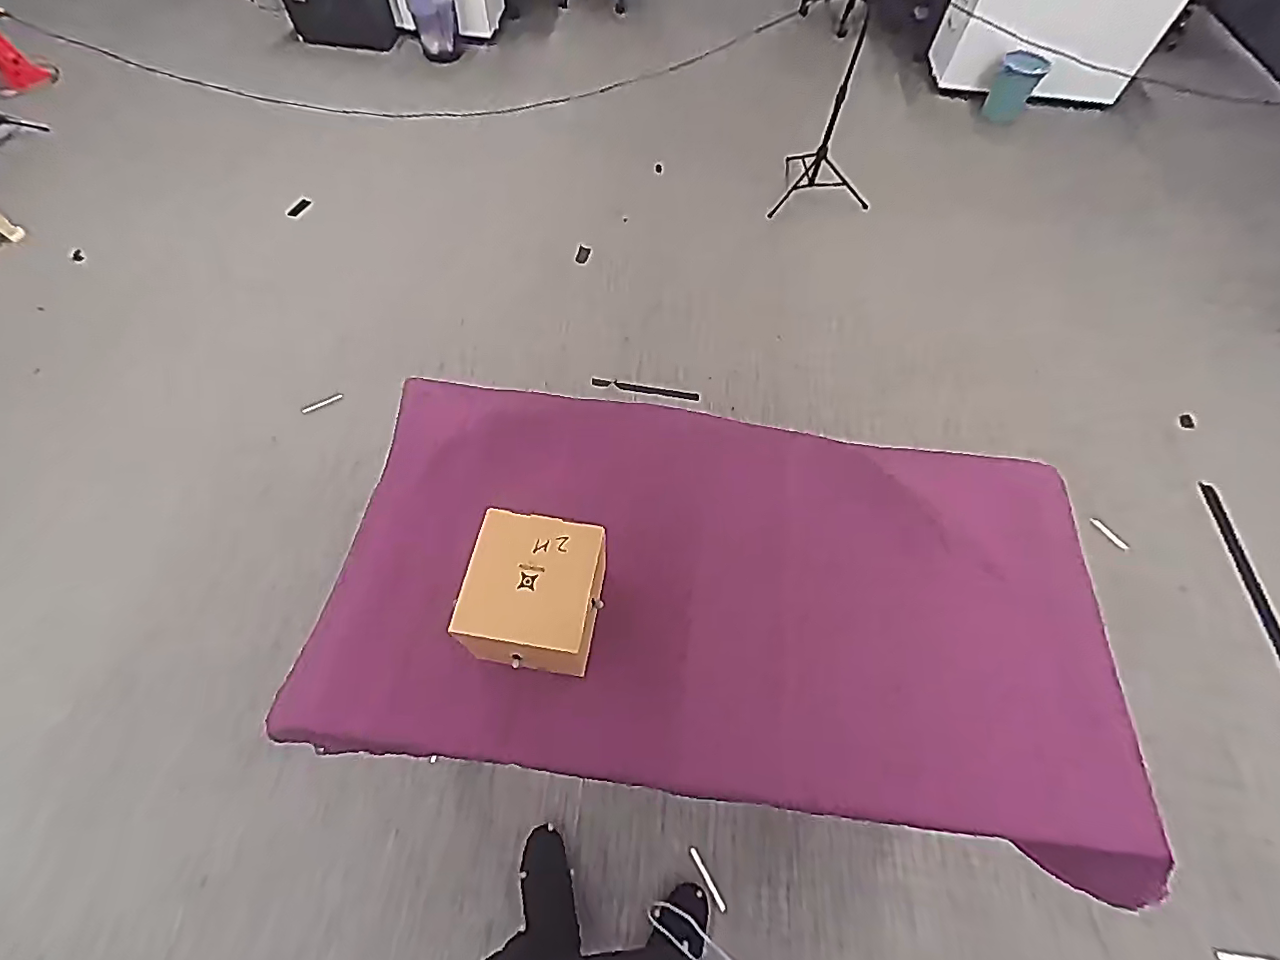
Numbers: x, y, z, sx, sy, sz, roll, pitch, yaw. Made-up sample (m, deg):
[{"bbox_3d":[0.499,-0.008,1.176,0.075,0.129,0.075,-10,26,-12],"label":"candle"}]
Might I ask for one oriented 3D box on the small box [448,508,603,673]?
[{"bbox_3d":[-0.147,0.164,0.769,0.168,0.176,0.179,10,61,2],"label":"small box"}]
